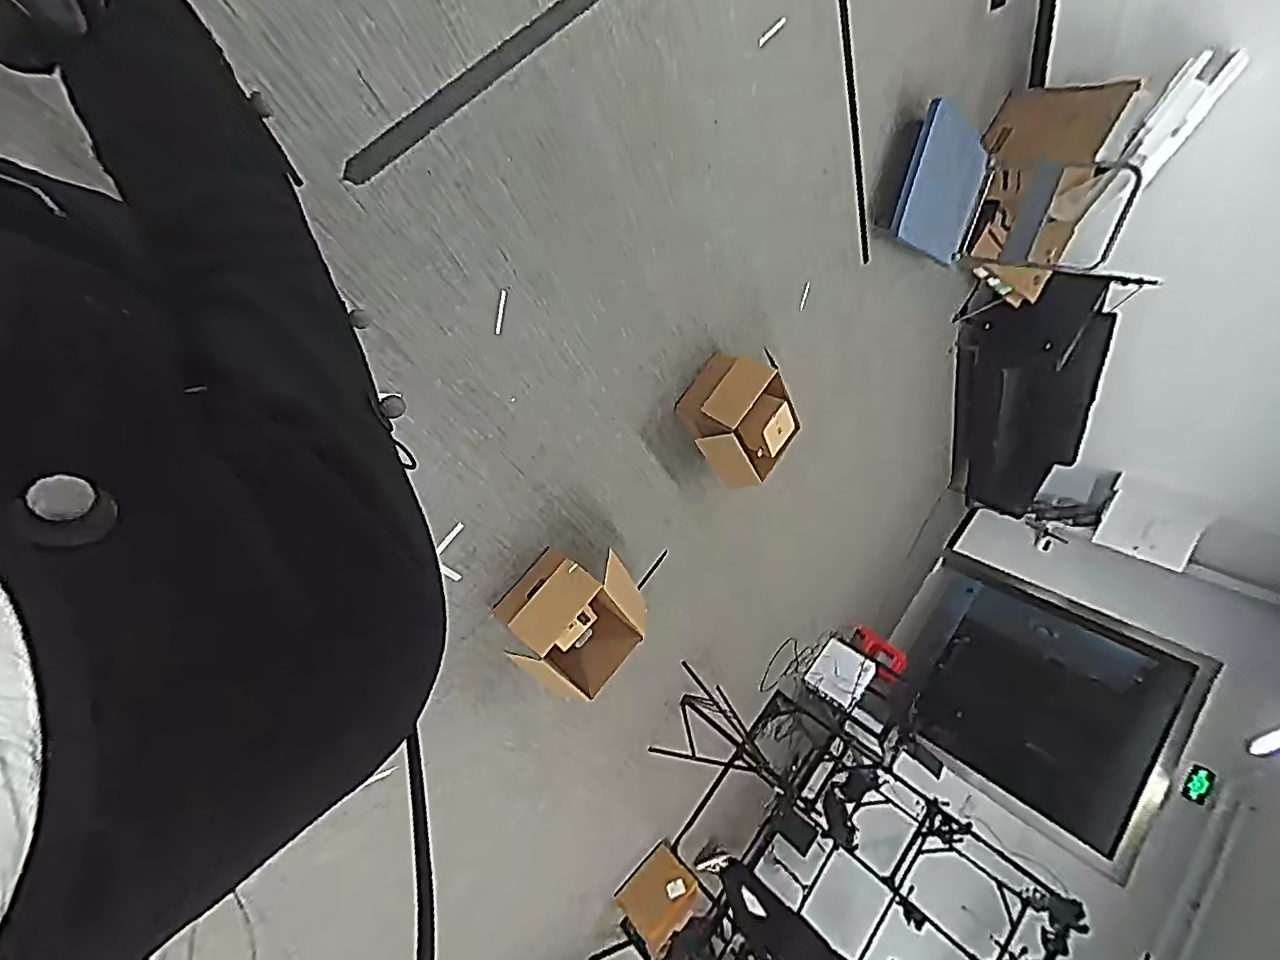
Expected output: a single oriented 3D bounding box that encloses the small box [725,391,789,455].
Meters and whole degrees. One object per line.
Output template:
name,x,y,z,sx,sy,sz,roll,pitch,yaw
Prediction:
small box,0.469,-0.233,2.170,0.168,0.176,0.179,-52,139,-13
